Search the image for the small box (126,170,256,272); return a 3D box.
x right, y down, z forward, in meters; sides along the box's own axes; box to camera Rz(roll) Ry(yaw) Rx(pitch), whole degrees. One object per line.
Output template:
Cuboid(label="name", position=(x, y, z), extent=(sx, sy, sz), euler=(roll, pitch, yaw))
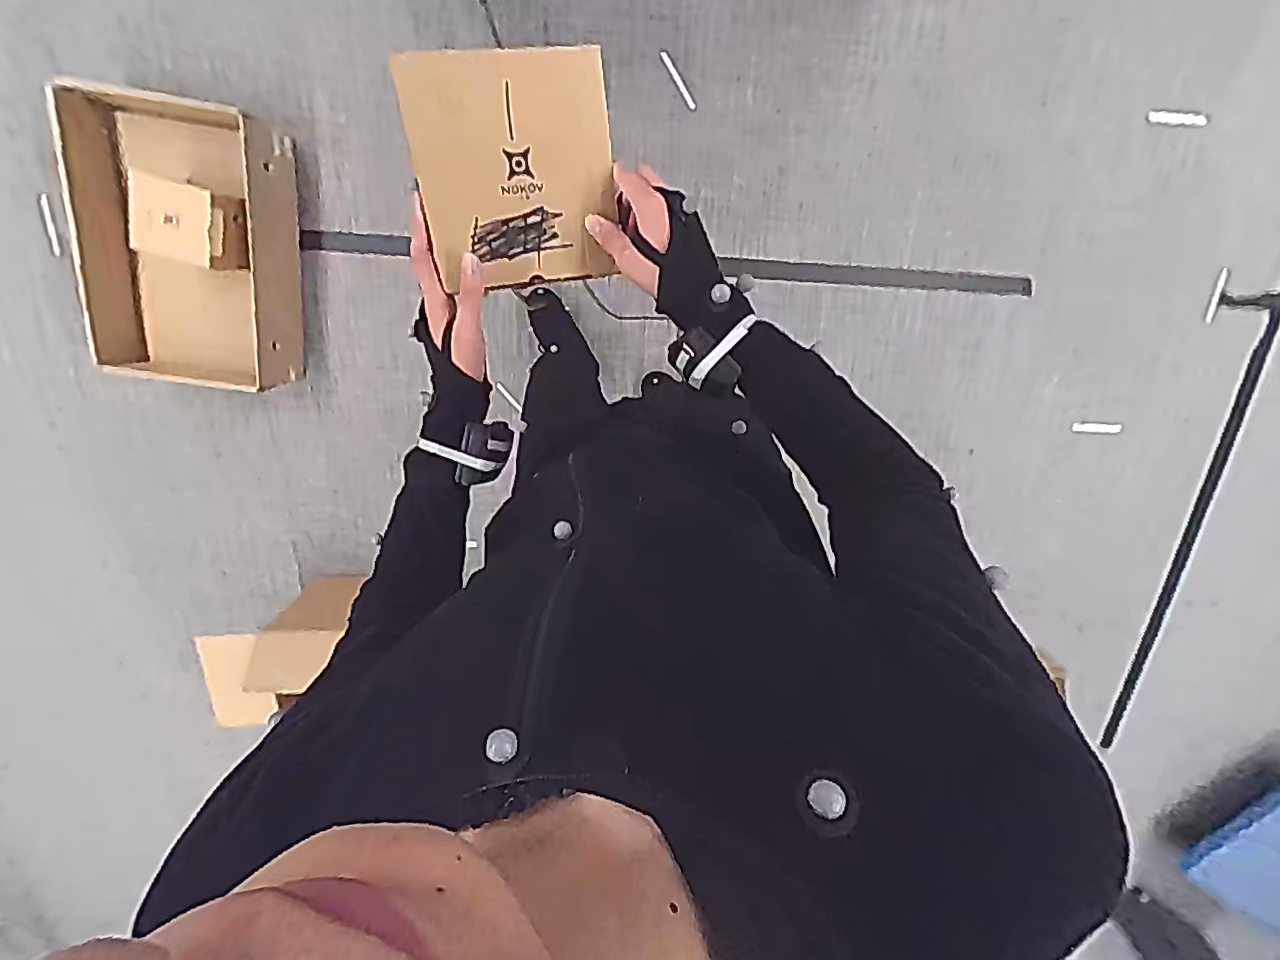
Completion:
Cuboid(label="small box", position=(-1.037, -0.594, 1.262), extent=(0.179, 0.176, 0.168), euler=(15, 108, -7))

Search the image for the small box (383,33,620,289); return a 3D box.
Cuboid(label="small box", position=(-0.122, -0.288, 0.513), extent=(0.168, 0.176, 0.179), euler=(-11, 115, -12))
